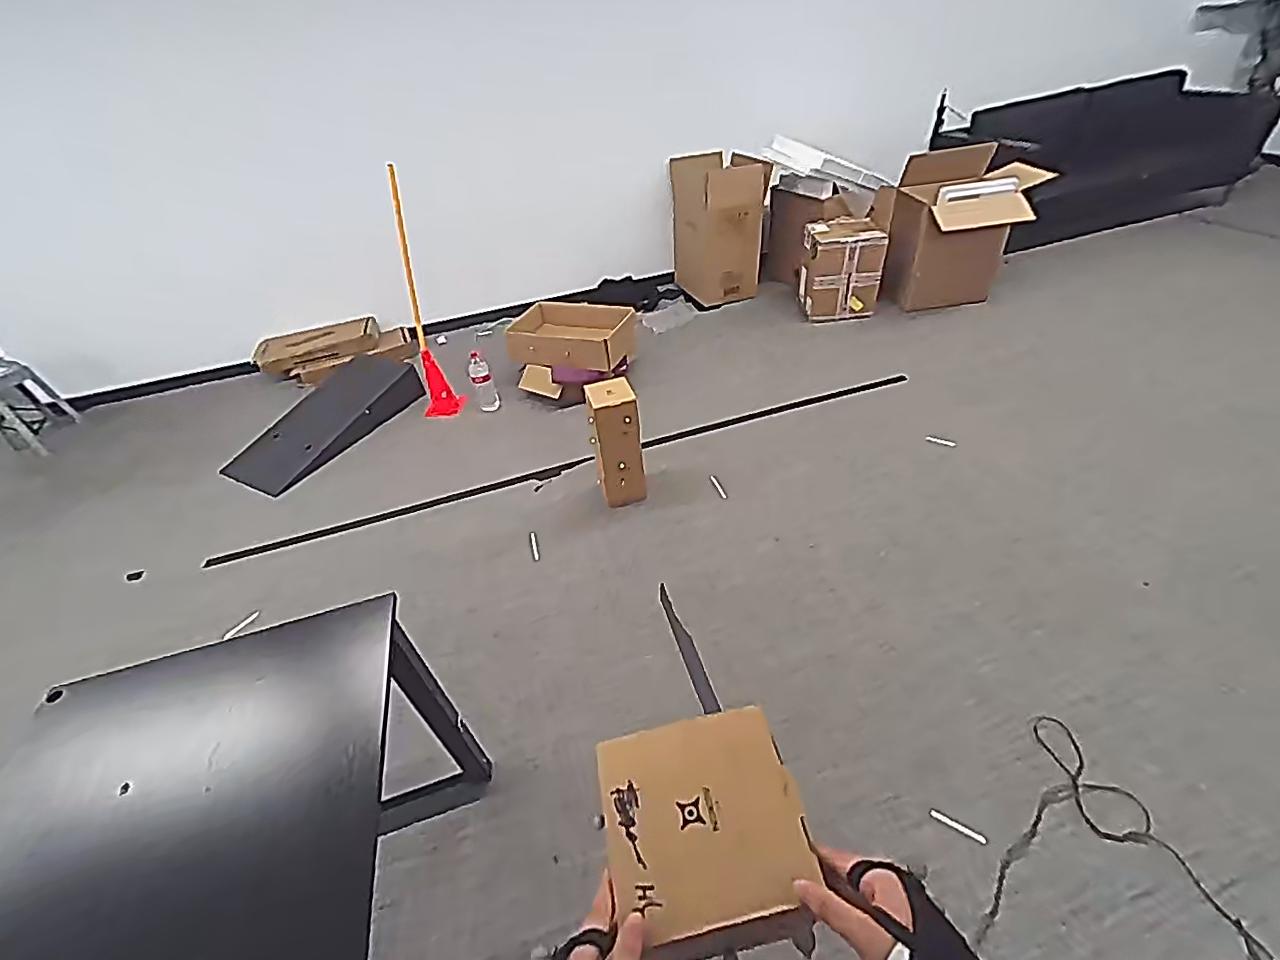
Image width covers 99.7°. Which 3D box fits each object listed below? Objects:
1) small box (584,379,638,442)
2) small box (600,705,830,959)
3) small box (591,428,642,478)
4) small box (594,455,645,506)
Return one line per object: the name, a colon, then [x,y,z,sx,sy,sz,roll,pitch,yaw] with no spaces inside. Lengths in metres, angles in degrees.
small box: [-0.109,-0.261,2.075,0.168,0.176,0.179,-14,40,-10]
small box: [0.063,0.357,0.542,0.179,0.176,0.168,-11,41,-4]
small box: [-0.096,-0.136,2.178,0.168,0.176,0.179,-14,42,-9]
small box: [-0.086,-0.014,2.288,0.179,0.176,0.168,-14,41,-9]
